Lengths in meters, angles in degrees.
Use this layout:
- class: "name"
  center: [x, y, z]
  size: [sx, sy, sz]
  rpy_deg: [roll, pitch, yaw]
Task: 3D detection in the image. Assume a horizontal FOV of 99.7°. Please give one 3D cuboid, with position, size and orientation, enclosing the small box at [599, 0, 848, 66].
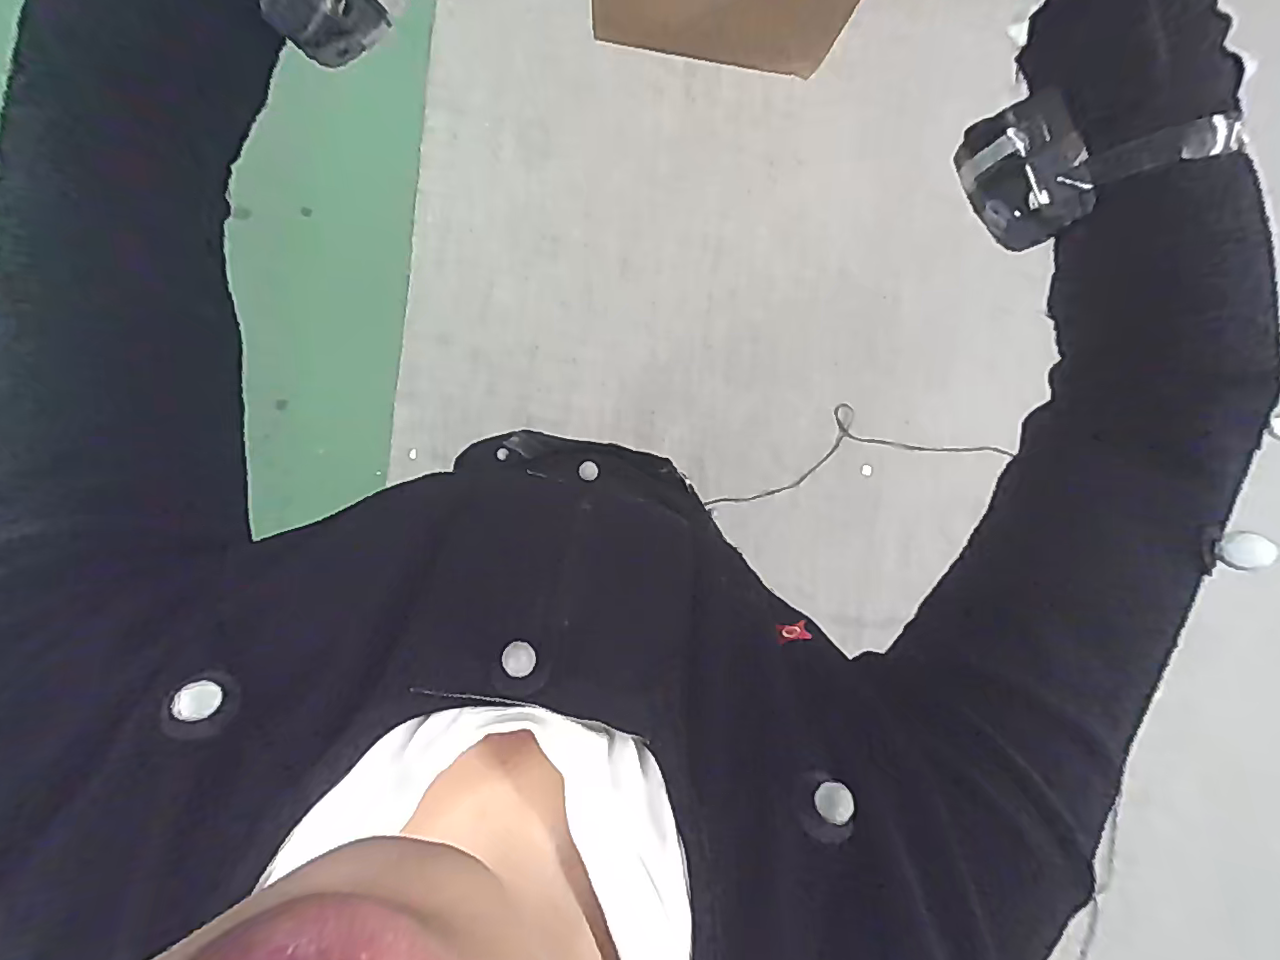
- class: "small box"
  center: [0.066, -0.397, 0.330]
  size: [0.179, 0.176, 0.168]
  rpy_deg: [7, 100, -5]
